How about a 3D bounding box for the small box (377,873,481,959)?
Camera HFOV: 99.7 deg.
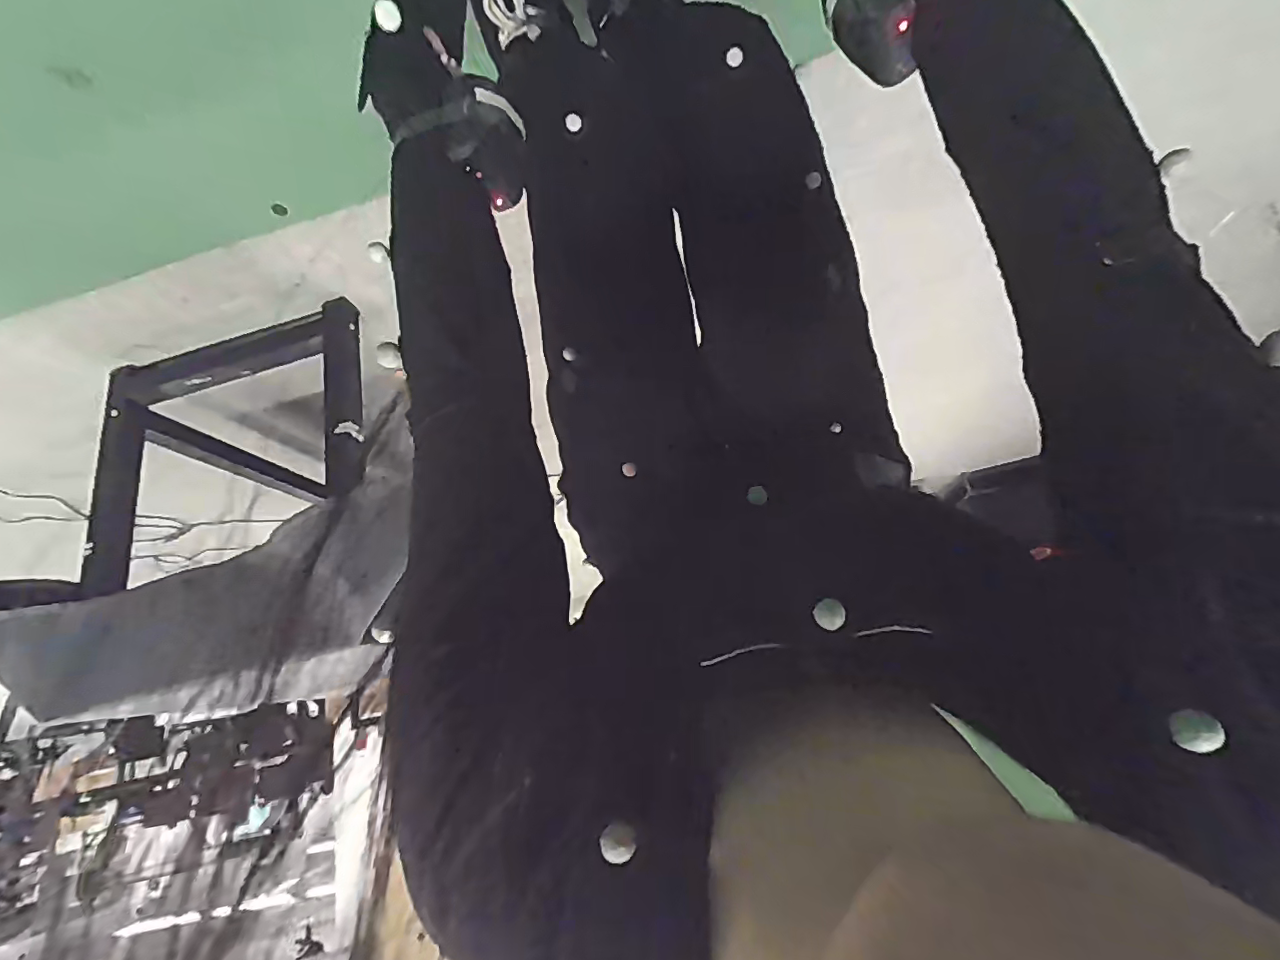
[{"bbox_3d":[-0.506,1.073,1.295,0.179,0.176,0.168,-14,159,6],"label":"small box"}]
